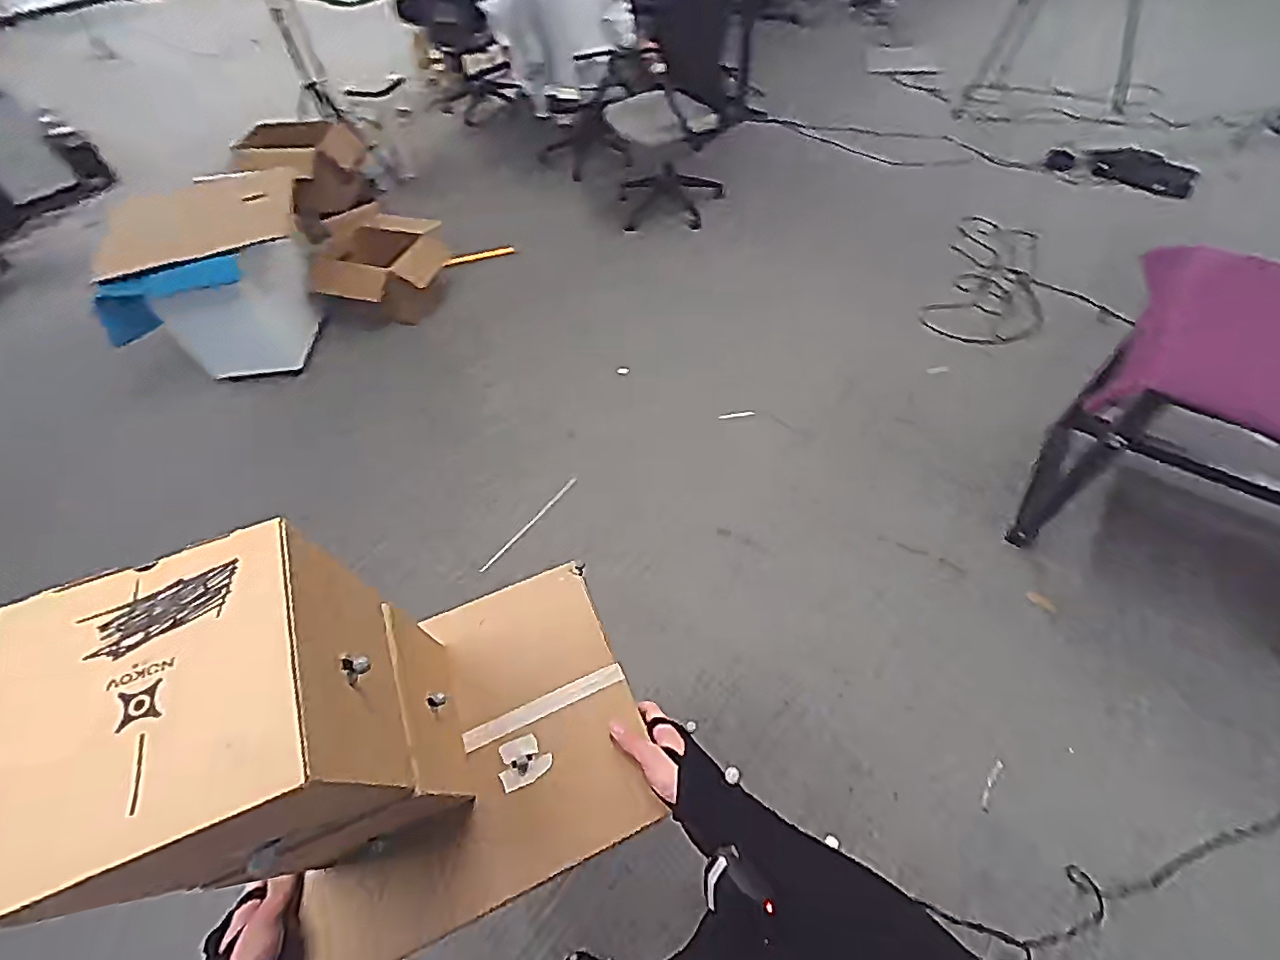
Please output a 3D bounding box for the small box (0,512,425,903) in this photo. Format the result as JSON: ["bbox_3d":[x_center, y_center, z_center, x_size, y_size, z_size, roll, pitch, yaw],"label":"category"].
[{"bbox_3d":[-0.273,0.155,0.385,0.168,0.176,0.179,-19,62,-11],"label":"small box"}]

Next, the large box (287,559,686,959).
[{"bbox_3d":[-0.193,0.370,0.734,0.408,0.320,0.320,-20,62,-13],"label":"large box"}]
